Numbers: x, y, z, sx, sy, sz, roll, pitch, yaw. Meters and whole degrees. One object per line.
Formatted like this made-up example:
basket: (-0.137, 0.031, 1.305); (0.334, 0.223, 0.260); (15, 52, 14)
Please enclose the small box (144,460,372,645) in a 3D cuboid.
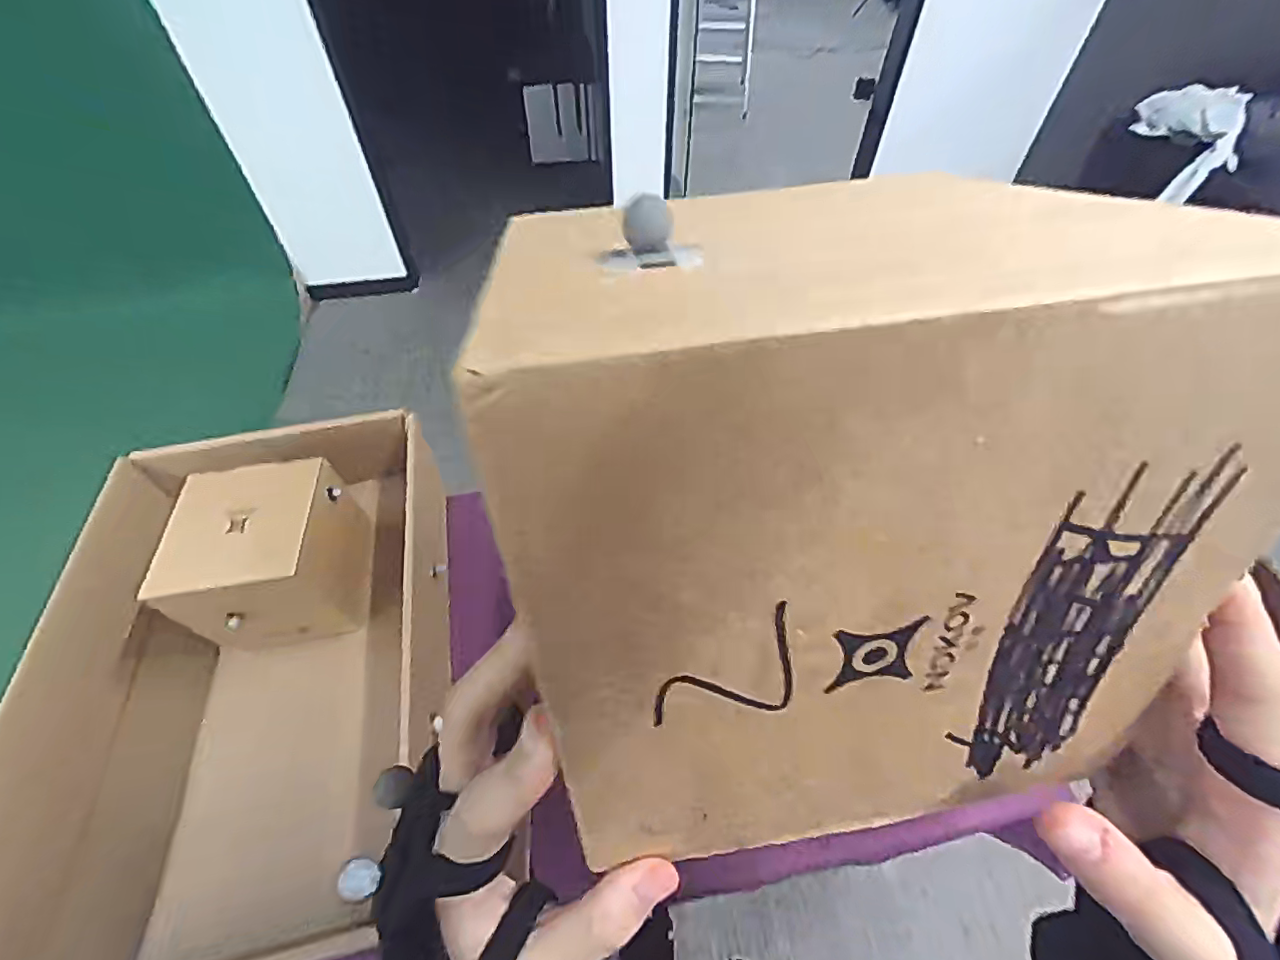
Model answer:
small box: (-0.474, 0.102, 0.708); (0.168, 0.176, 0.179); (-9, 53, -5)
